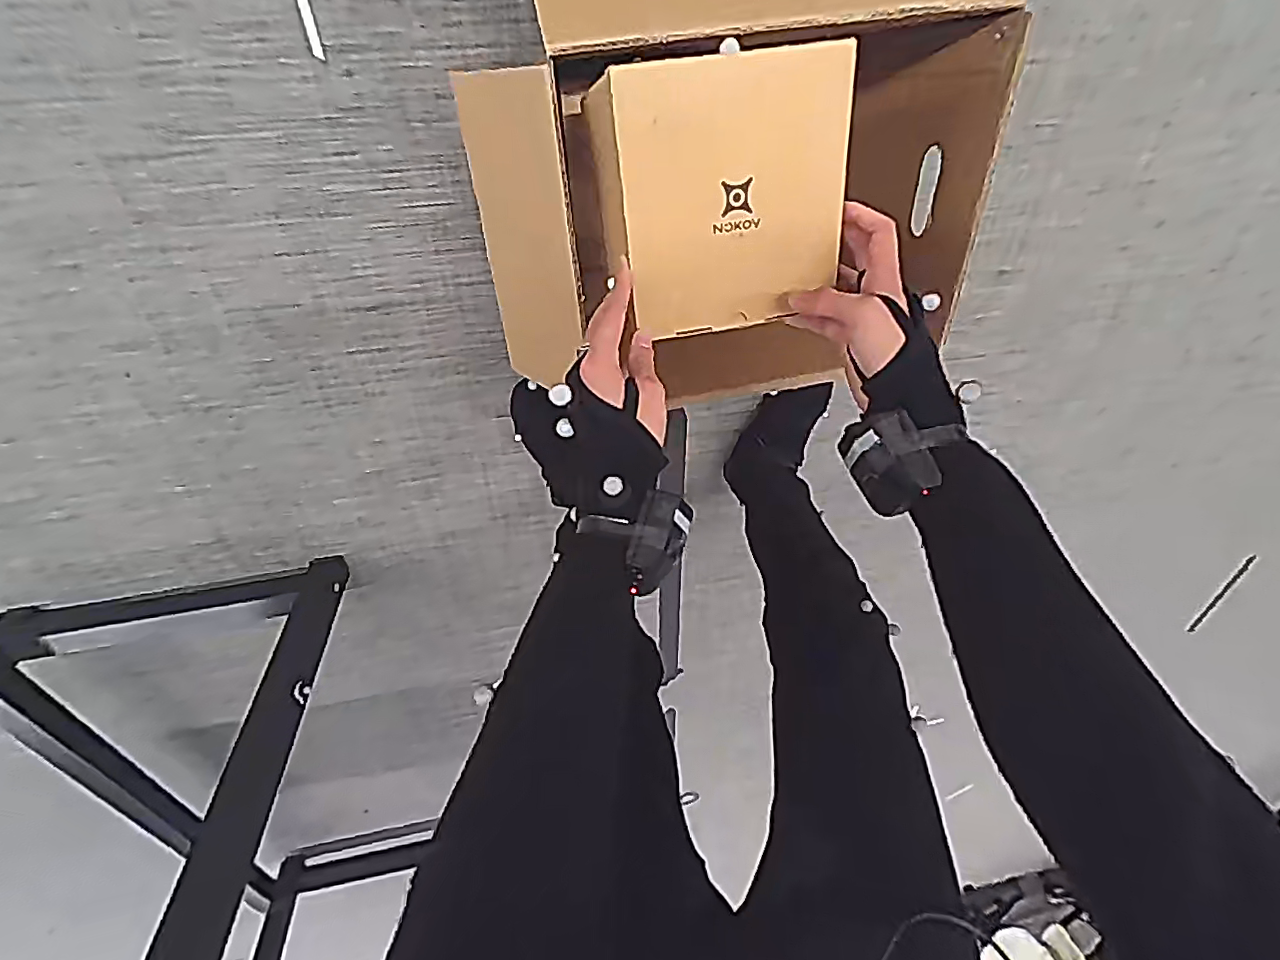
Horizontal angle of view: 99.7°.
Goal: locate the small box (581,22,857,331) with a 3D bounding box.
[{"bbox_3d":[0.051,-0.241,0.444,0.168,0.176,0.179,-11,123,-6],"label":"small box"}]
